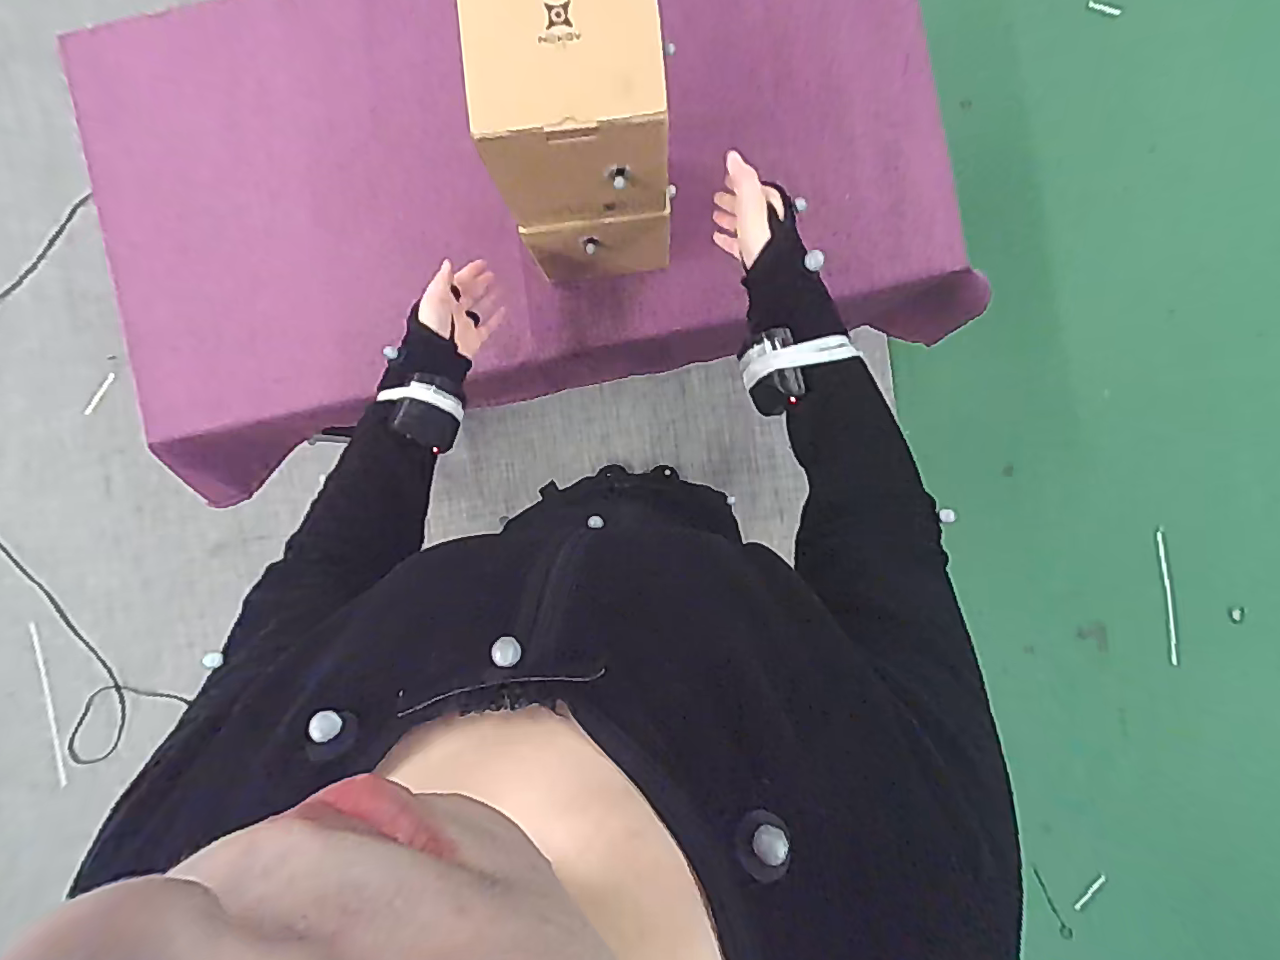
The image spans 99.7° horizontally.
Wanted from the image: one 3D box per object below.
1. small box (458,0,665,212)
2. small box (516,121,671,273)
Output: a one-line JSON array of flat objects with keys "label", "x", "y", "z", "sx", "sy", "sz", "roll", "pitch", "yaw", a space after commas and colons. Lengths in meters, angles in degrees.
[{"label": "small box", "x": -0.063, "y": -0.380, "z": 0.523, "sx": 0.168, "sy": 0.176, "sz": 0.179, "roll": -5, "pitch": 91, "yaw": 2}, {"label": "small box", "x": -0.054, "y": -0.376, "z": 0.685, "sx": 0.179, "sy": 0.176, "sz": 0.168, "roll": -6, "pitch": 92, "yaw": 3}]
